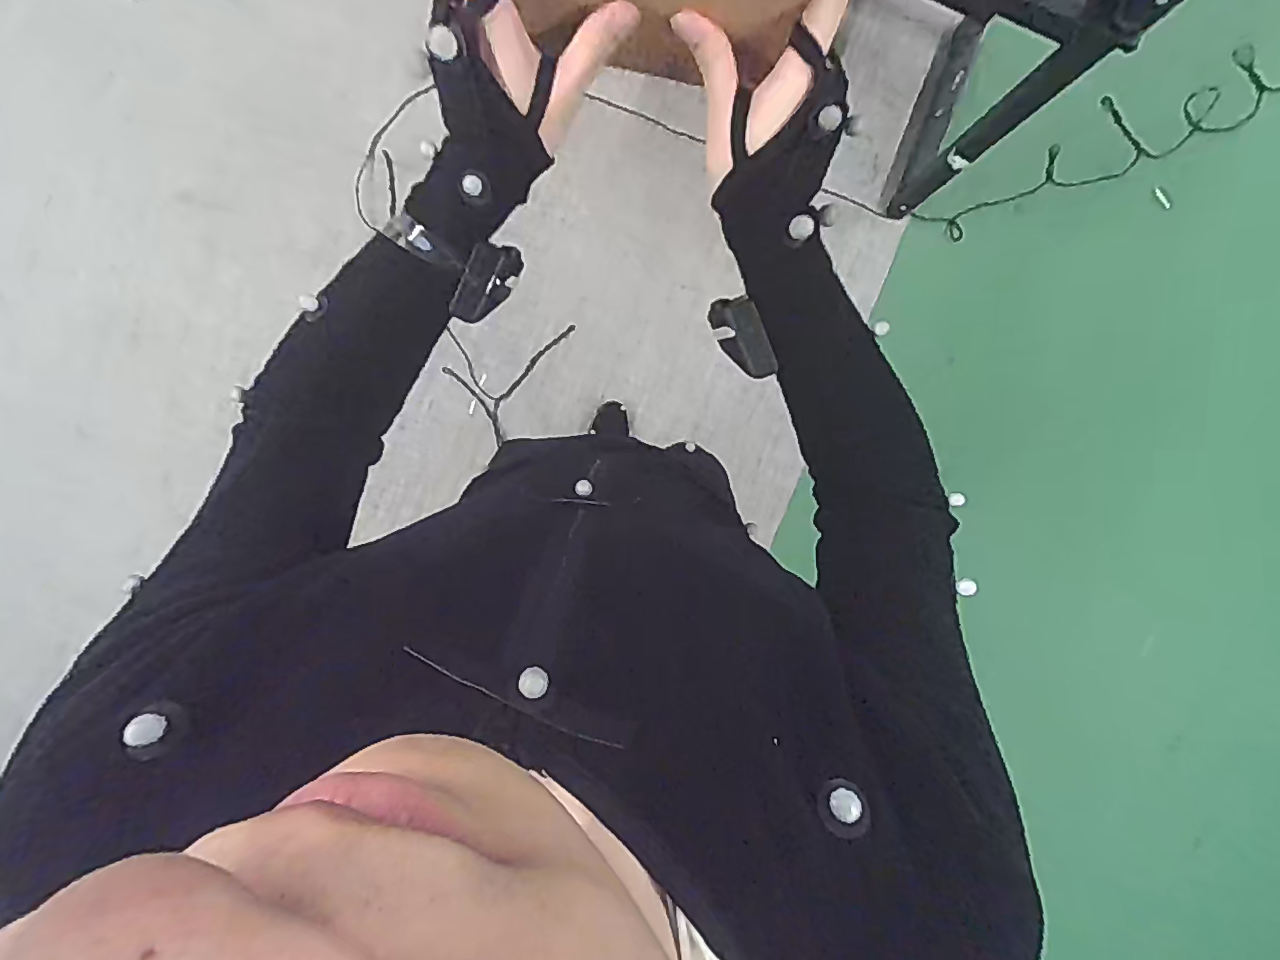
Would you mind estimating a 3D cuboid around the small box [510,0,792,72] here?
[{"bbox_3d":[0.016,-0.354,0.276,0.179,0.176,0.168,7,98,-7],"label":"small box"}]
